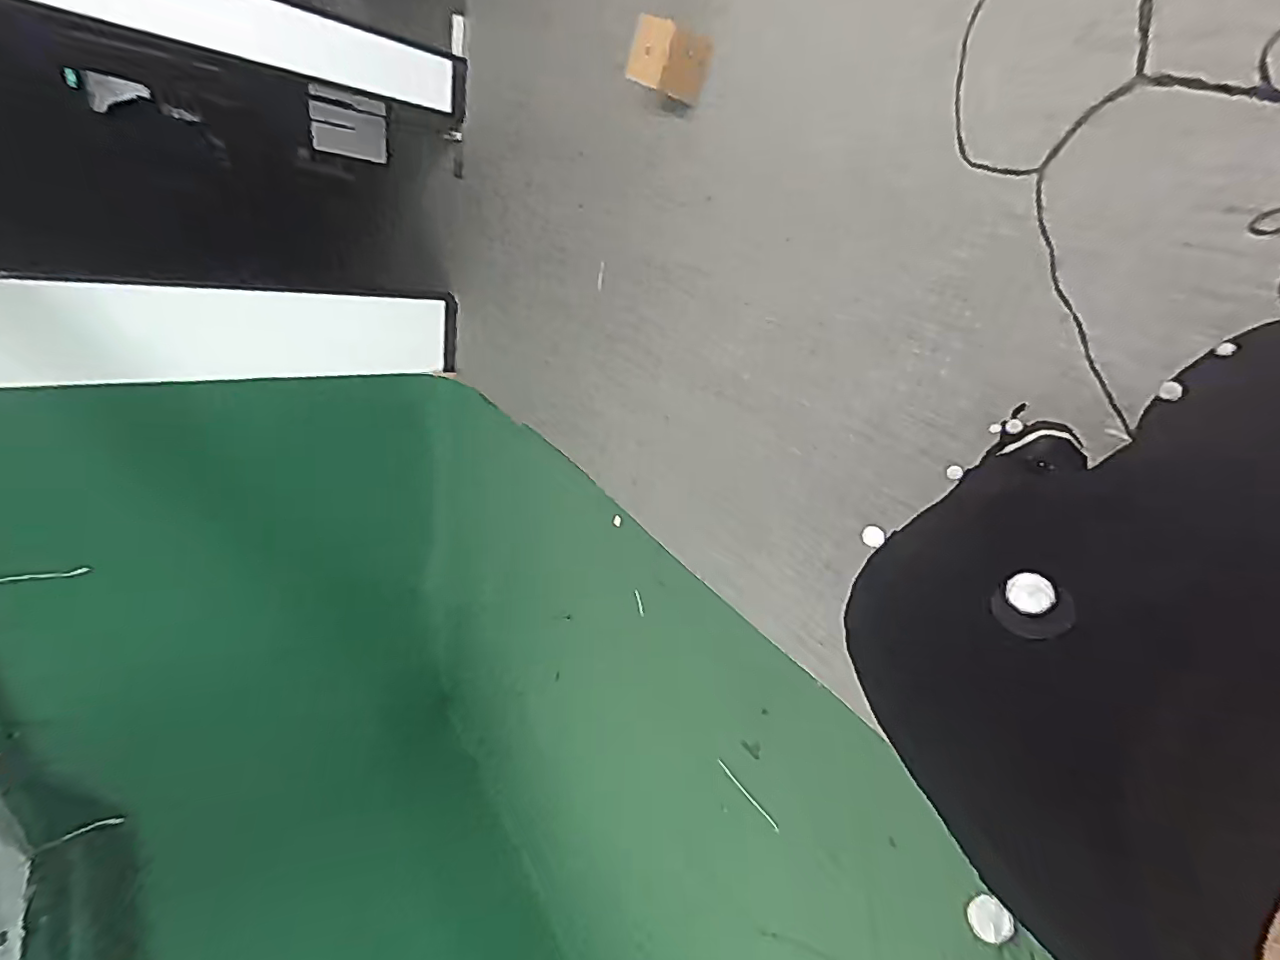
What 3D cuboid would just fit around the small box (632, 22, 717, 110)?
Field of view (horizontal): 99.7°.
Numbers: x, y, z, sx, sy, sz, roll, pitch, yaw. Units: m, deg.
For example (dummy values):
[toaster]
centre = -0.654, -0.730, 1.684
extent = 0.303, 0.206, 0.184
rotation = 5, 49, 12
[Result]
[small box]
centre = 0.108, -1.281, 1.681
extent = 0.179, 0.176, 0.168
rotation = 49, 131, 34
